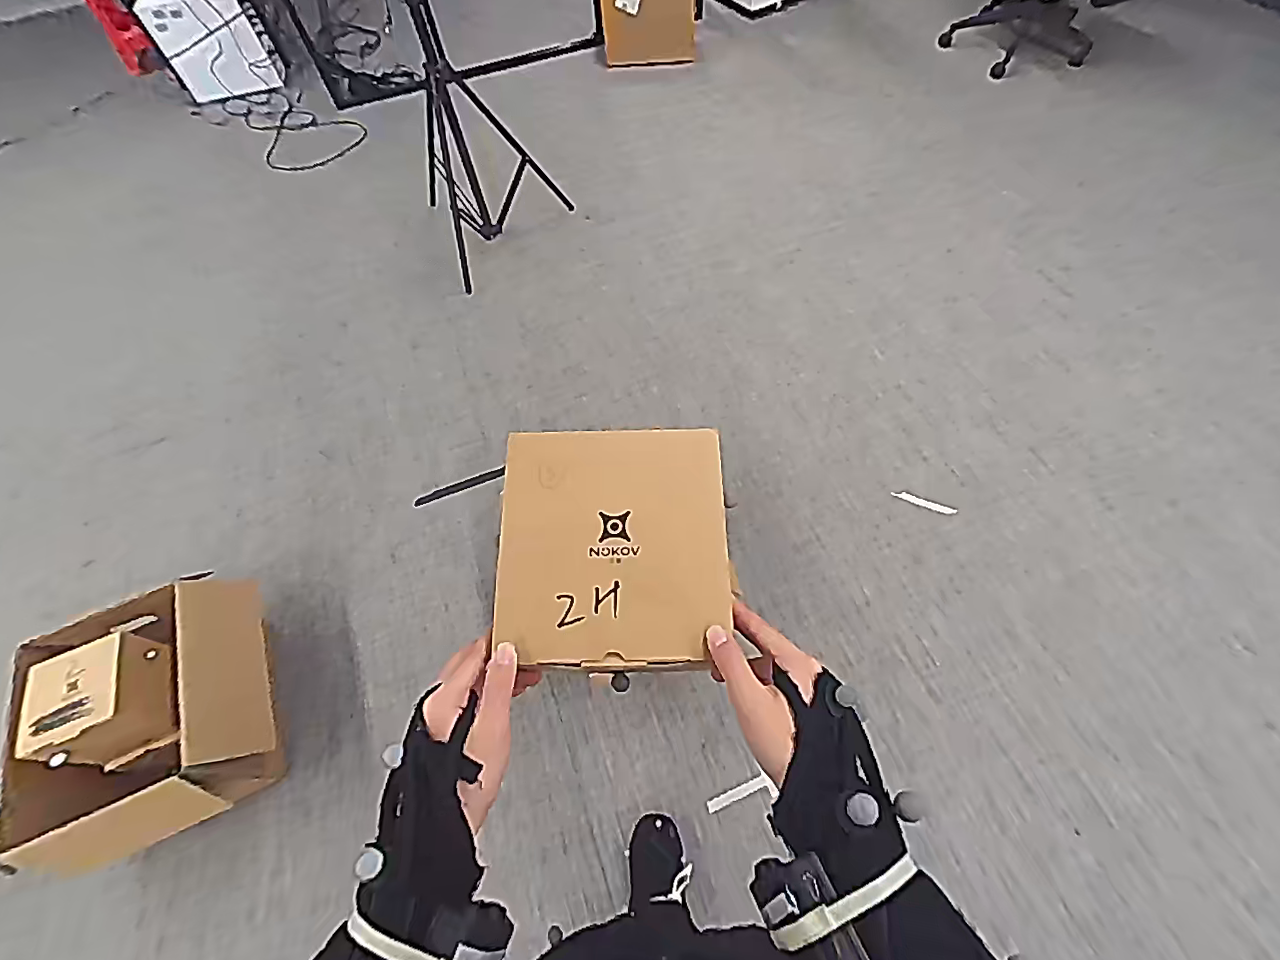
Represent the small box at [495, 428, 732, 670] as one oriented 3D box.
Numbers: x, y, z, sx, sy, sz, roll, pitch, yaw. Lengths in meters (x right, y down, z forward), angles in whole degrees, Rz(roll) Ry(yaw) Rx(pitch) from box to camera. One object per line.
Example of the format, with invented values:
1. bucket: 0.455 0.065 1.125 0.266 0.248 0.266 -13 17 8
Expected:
1. small box: -0.018 0.069 0.473 0.168 0.176 0.179 -1 69 0
